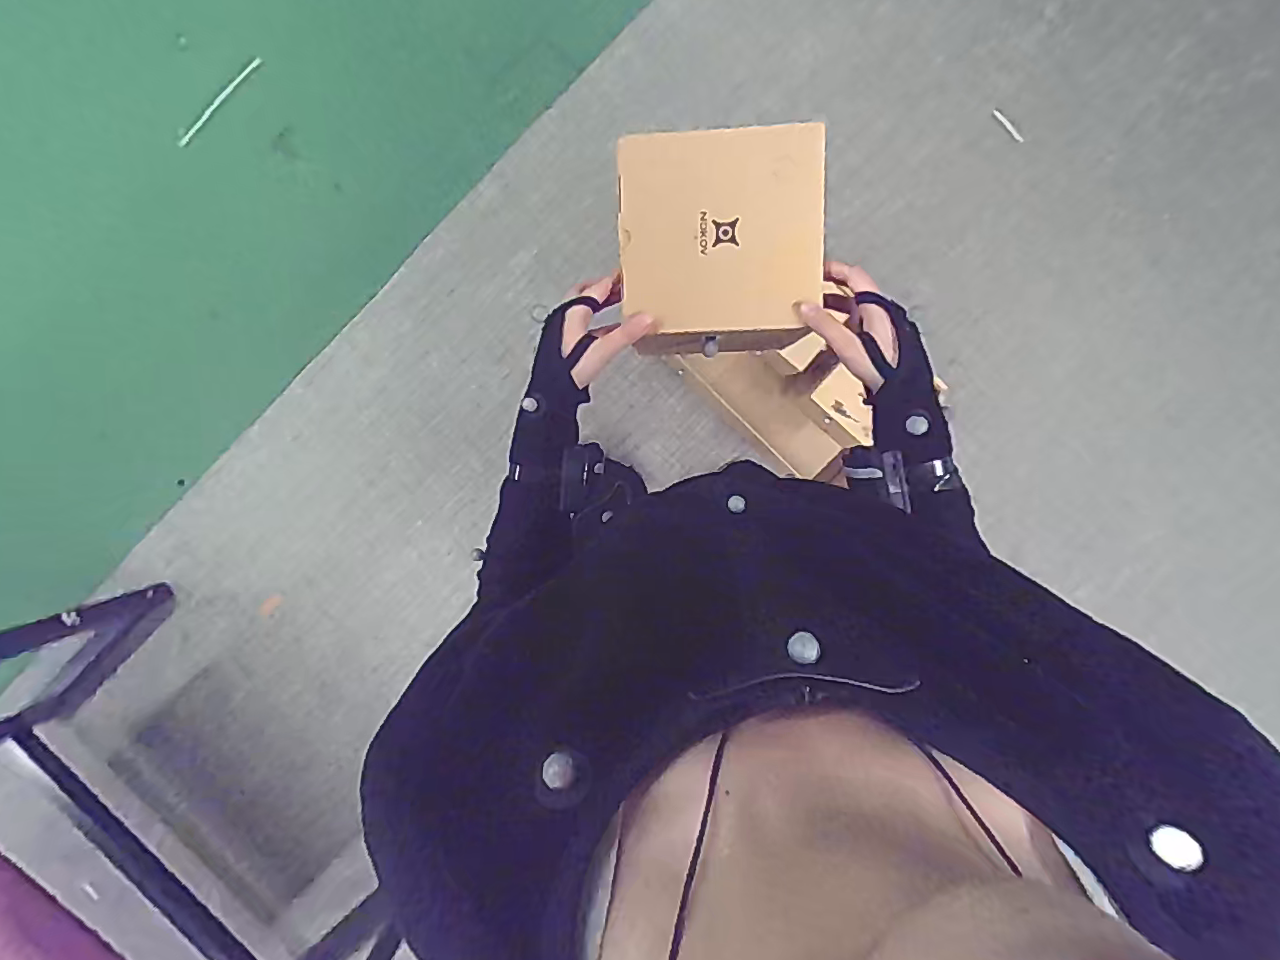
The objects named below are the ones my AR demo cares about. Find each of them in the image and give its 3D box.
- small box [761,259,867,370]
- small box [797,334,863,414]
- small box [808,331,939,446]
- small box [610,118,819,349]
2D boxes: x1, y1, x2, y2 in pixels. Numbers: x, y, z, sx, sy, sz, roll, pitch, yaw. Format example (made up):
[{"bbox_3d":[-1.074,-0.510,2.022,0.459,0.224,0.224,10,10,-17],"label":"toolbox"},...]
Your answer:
[{"bbox_3d":[0.348,-0.356,1.175,0.168,0.176,0.179,39,98,-4],"label":"small box"},{"bbox_3d":[0.516,-0.230,1.339,0.179,0.176,0.168,38,97,0],"label":"small box"},{"bbox_3d":[0.495,-0.194,1.179,0.168,0.176,0.179,42,96,0],"label":"small box"},{"bbox_3d":[0.072,-0.226,0.541,0.179,0.176,0.168,-2,98,7],"label":"small box"}]
